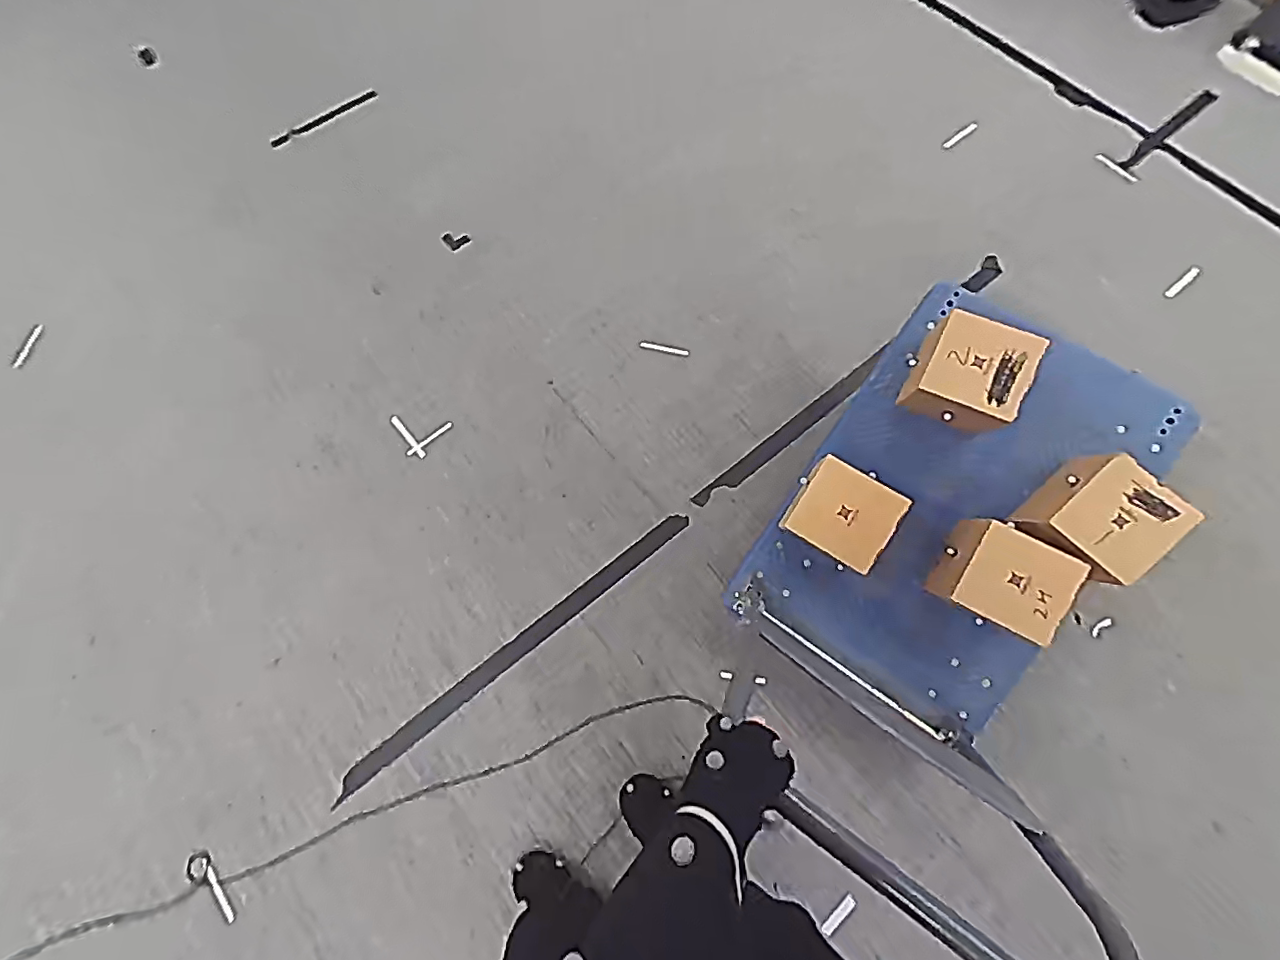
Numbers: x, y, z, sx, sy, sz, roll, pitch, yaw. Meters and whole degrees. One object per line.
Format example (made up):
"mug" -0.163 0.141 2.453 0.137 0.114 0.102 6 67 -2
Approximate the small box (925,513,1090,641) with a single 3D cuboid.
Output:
"small box" 0.683 0.177 1.033 0.179 0.176 0.168 29 92 12

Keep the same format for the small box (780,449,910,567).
"small box" 0.401 0.059 1.097 0.179 0.176 0.168 32 92 10

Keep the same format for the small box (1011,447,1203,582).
"small box" 0.849 0.063 1.008 0.168 0.176 0.179 44 96 11
